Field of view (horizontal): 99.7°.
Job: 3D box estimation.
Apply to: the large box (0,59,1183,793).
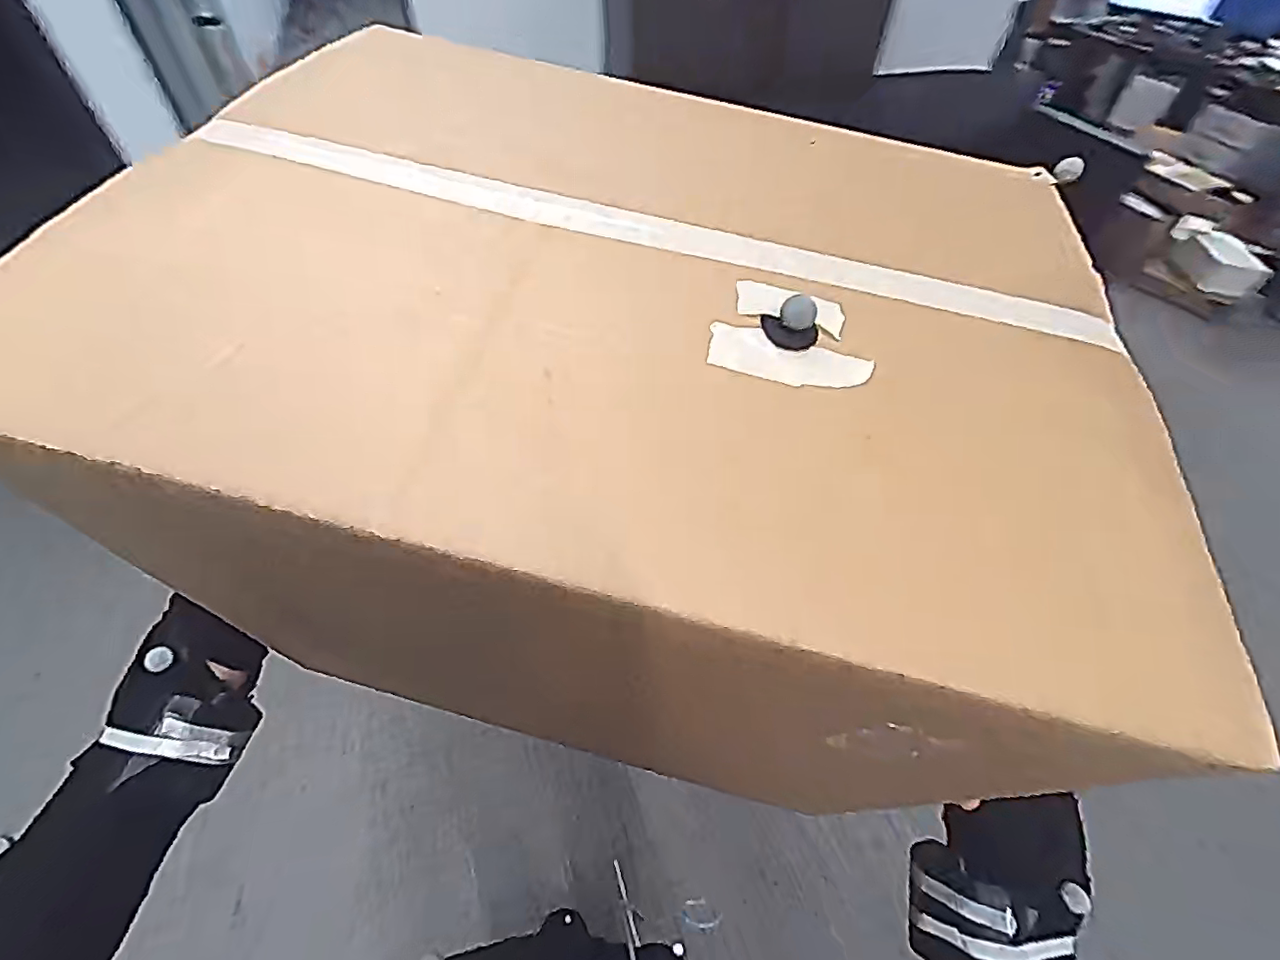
[{"bbox_3d":[-0.015,-0.016,0.372,0.408,0.320,0.320,15,56,2],"label":"large box"}]
